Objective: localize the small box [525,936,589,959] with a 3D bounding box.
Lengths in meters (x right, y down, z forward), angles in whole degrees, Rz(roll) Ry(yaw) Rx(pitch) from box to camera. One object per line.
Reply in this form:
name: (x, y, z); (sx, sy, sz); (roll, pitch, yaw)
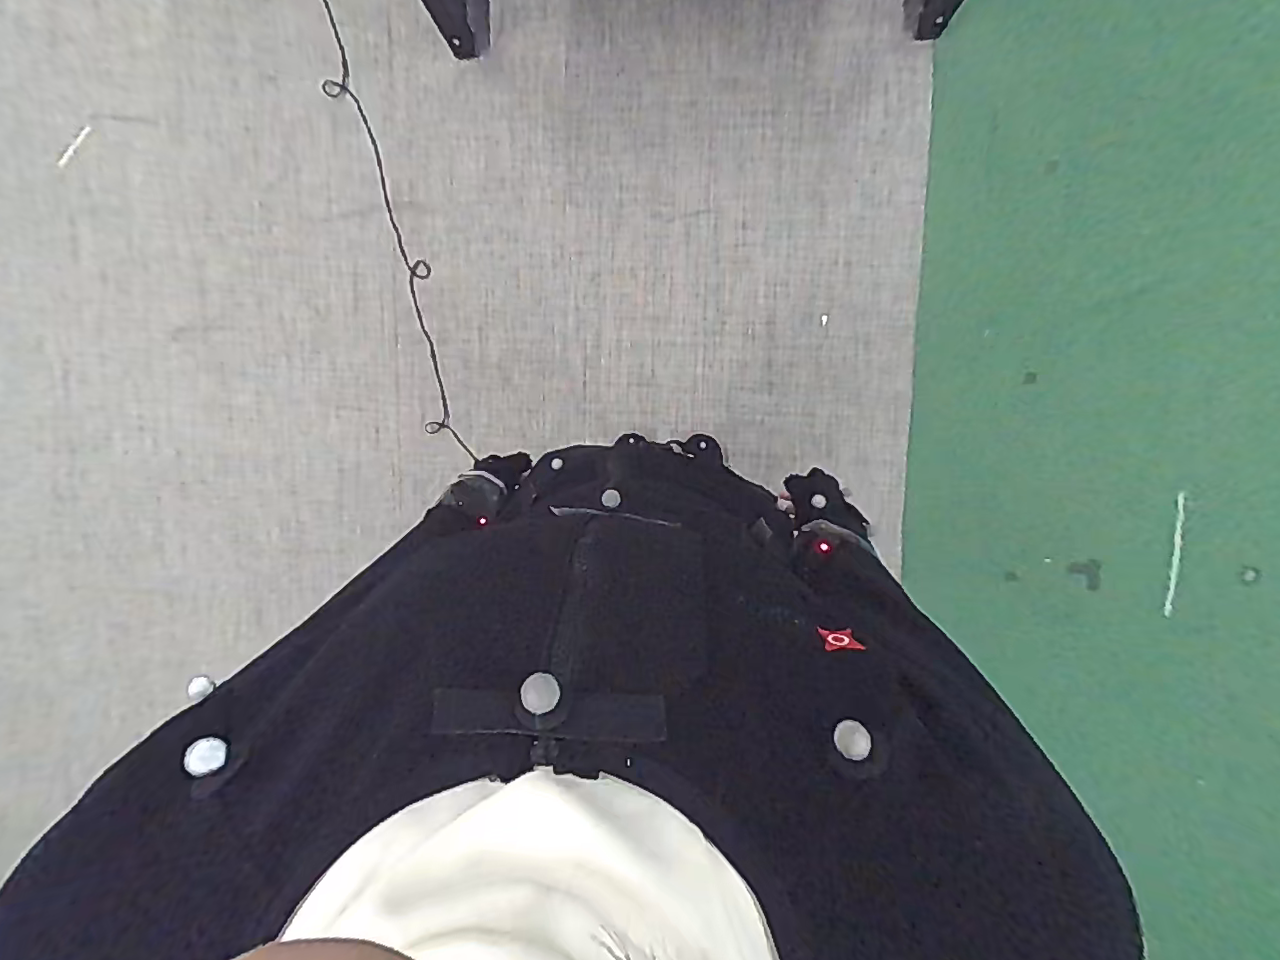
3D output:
small box: (-0.246, 1.428, 1.511); (0.179, 0.176, 0.168); (4, 96, 4)
